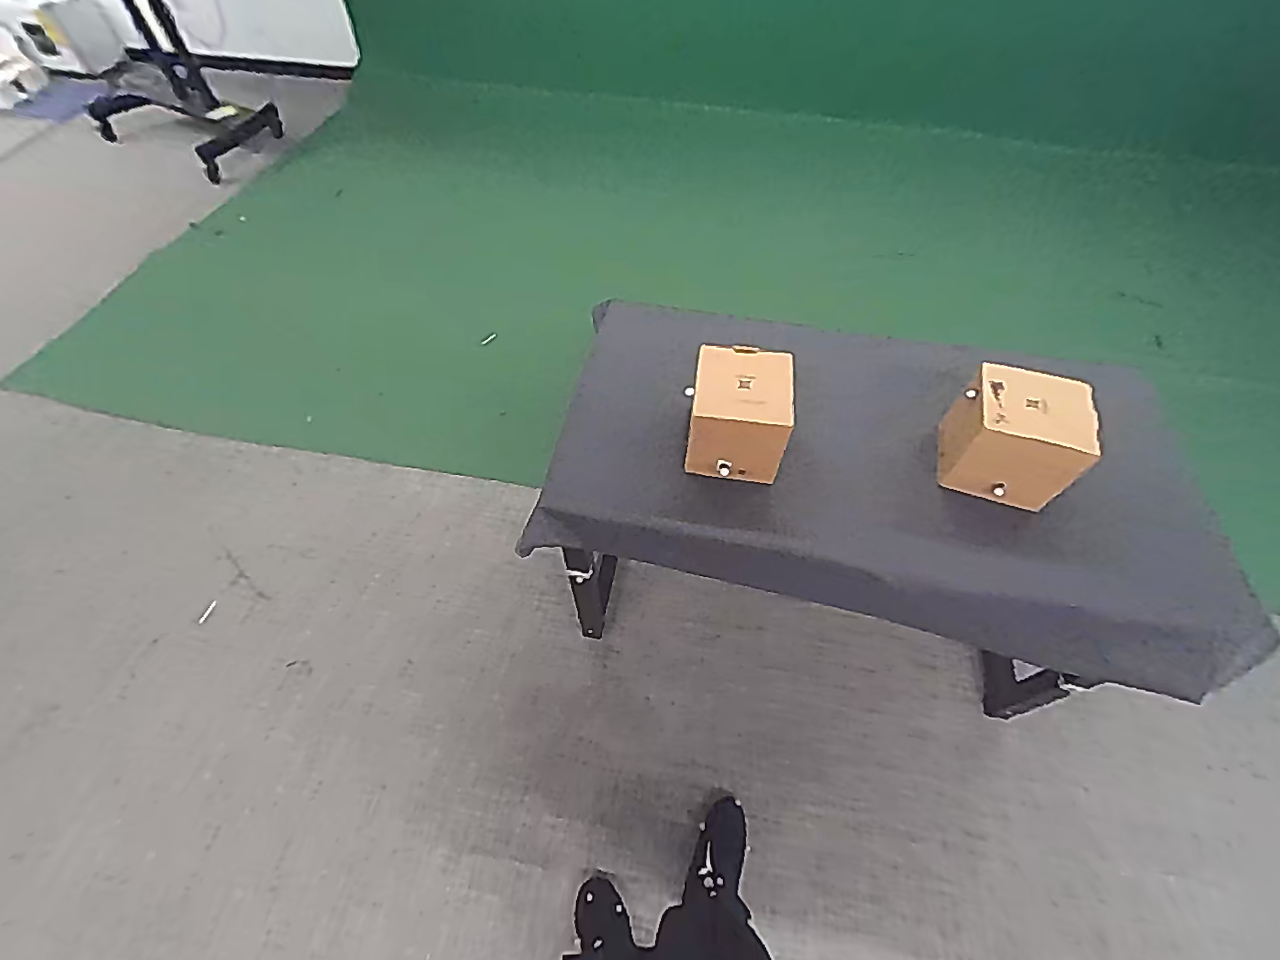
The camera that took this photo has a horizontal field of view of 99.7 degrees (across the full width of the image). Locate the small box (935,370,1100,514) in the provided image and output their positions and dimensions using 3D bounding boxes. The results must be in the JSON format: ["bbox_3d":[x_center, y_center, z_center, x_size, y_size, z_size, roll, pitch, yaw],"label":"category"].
[{"bbox_3d":[0.659,-0.062,0.963,0.179,0.176,0.168,17,56,10],"label":"small box"}]

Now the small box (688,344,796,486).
[{"bbox_3d":[0.179,-0.116,0.973,0.168,0.176,0.179,8,55,7],"label":"small box"}]
